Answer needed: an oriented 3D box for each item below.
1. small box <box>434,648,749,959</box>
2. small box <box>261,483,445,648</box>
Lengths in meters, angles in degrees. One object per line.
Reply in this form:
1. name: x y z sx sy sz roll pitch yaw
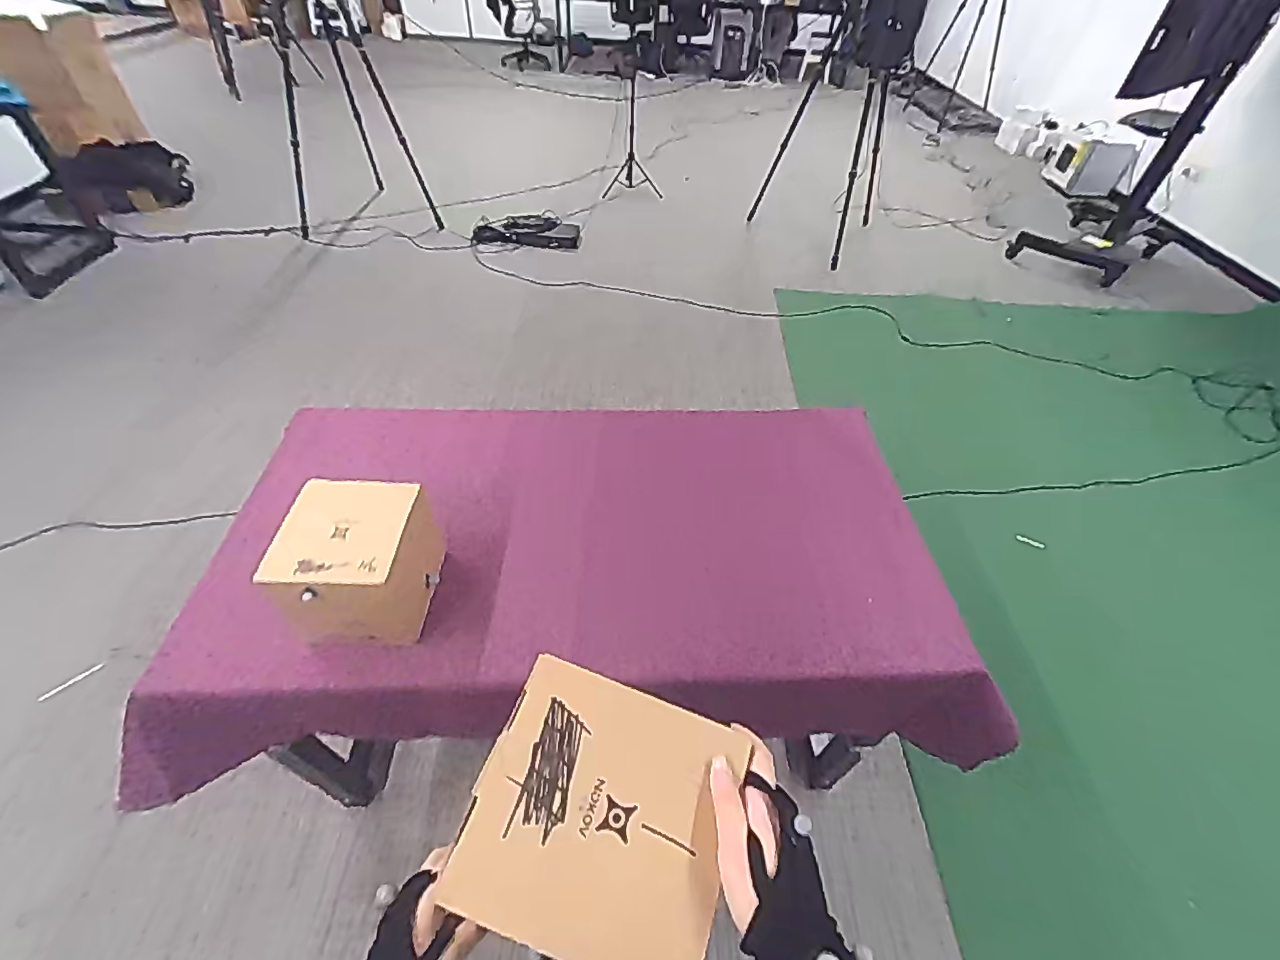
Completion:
1. small box: -0.033 0.267 0.445 0.179 0.176 0.168 21 58 7
2. small box: -0.400 0.125 0.797 0.168 0.176 0.179 2 46 -1
